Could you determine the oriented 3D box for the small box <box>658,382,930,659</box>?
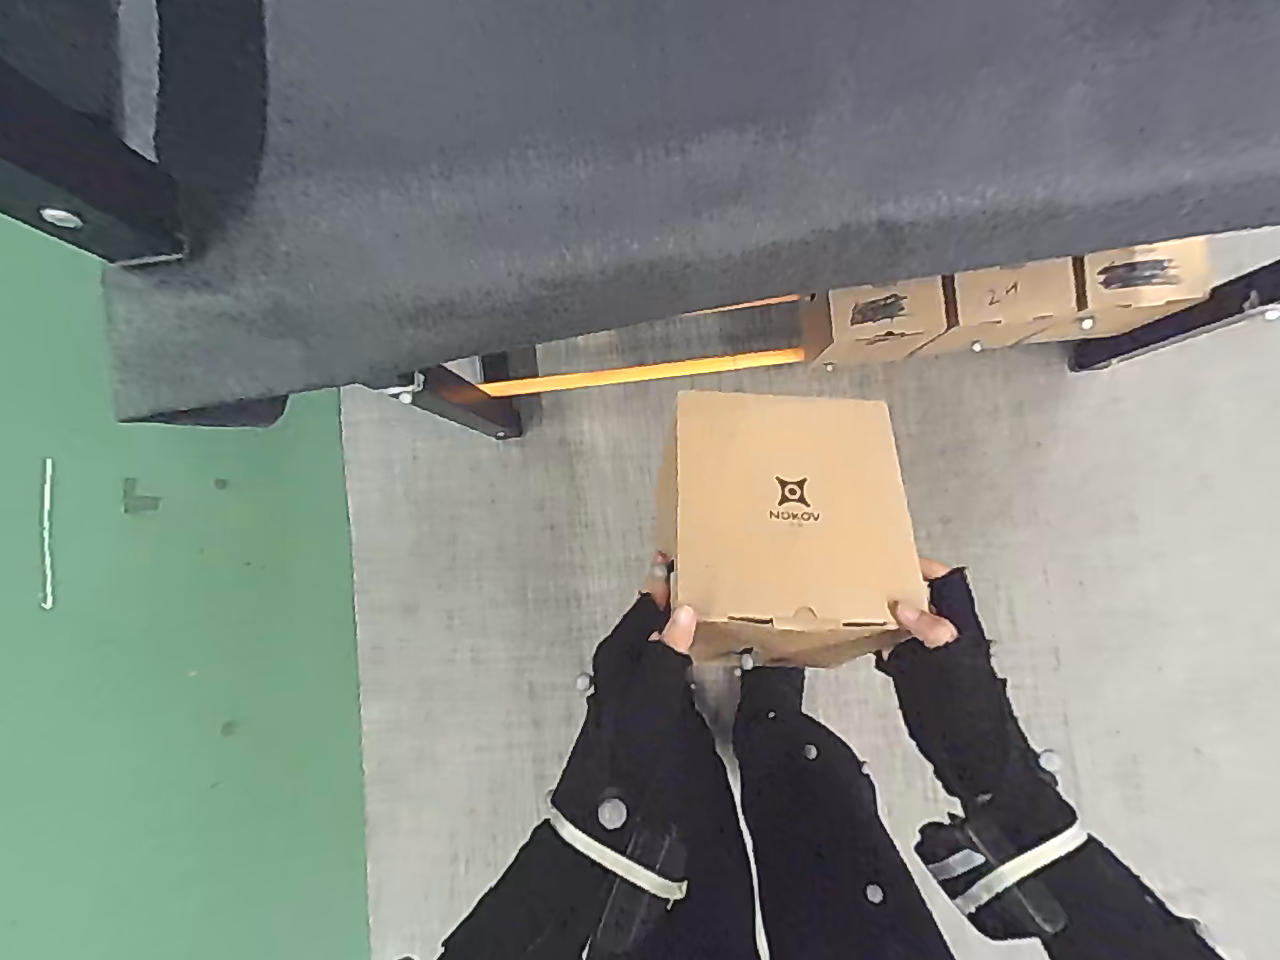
[{"bbox_3d":[0.103,0.042,0.453,0.168,0.176,0.179,2,62,-2],"label":"small box"}]
